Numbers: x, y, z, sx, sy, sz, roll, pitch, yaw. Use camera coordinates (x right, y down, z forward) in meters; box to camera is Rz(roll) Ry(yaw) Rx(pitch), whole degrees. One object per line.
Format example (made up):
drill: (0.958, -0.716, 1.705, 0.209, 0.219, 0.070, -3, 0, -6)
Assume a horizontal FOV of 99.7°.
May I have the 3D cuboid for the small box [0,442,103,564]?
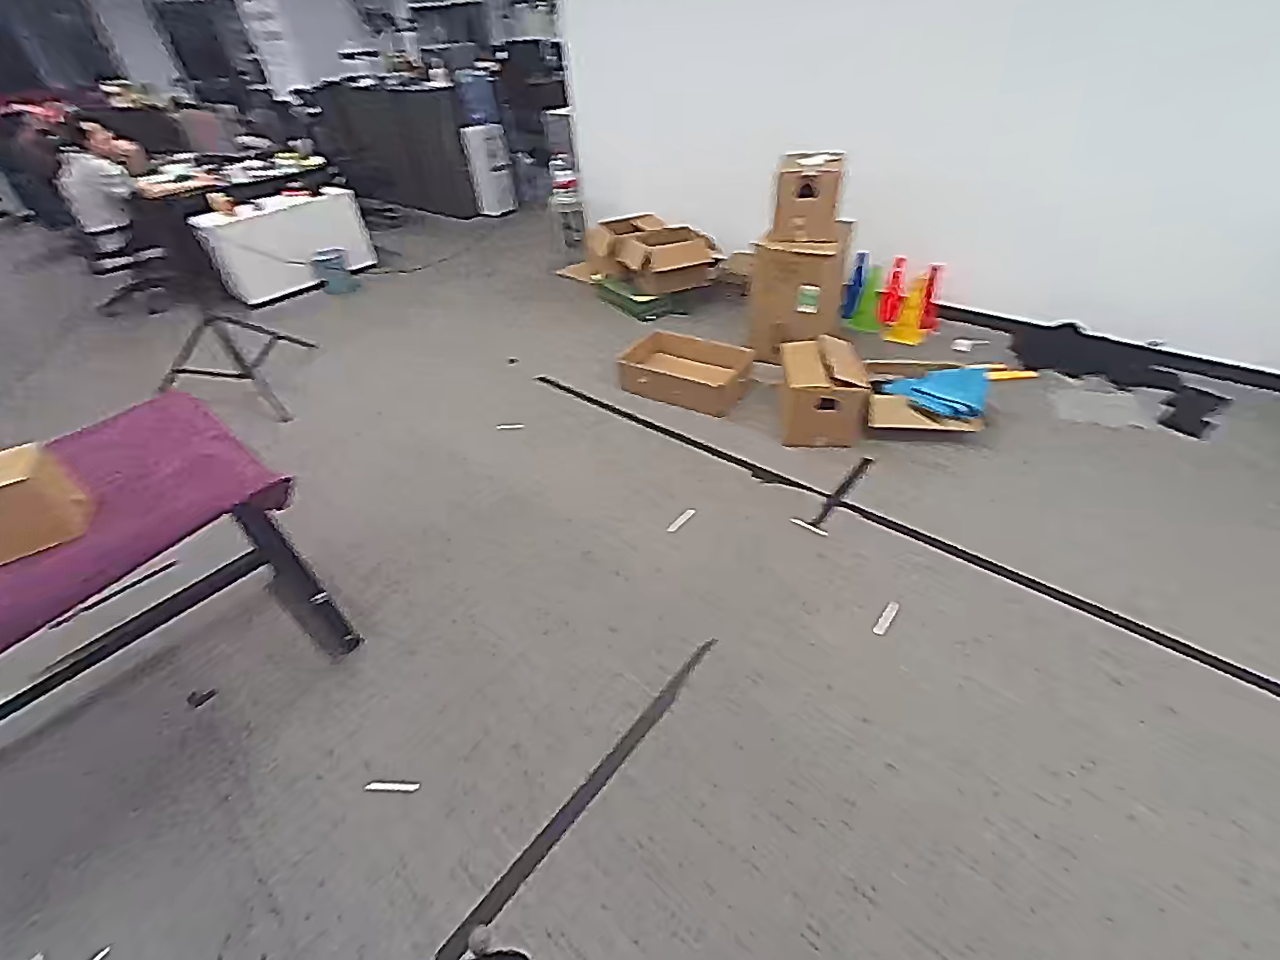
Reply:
small box: (-1.337, 0.051, 1.175, 0.179, 0.176, 0.168, -26, 44, -24)
